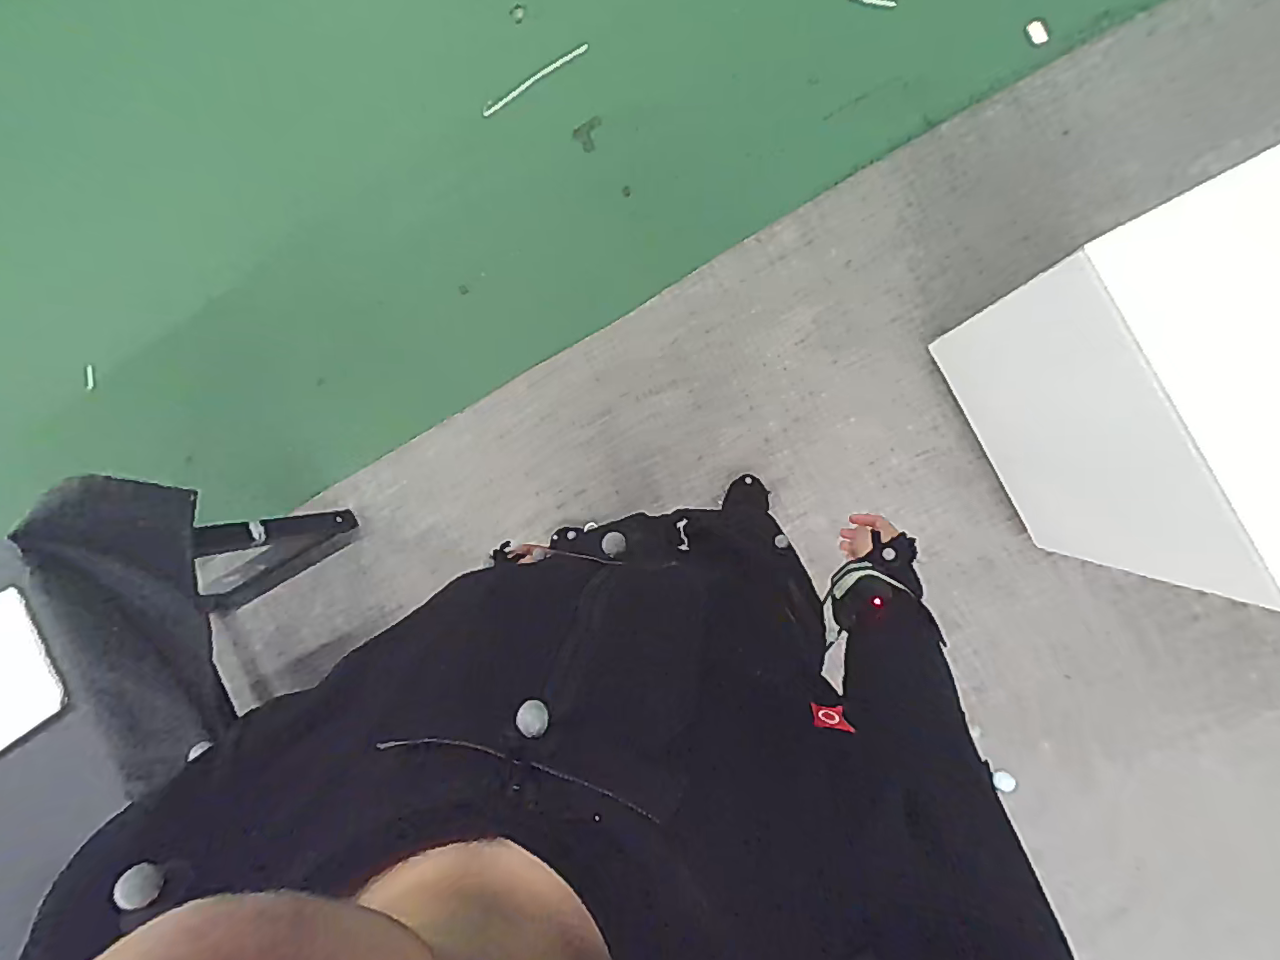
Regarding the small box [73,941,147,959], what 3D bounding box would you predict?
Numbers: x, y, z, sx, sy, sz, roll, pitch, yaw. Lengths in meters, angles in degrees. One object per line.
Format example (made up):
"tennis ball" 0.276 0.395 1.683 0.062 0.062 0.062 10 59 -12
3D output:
"small box" -0.764 0.766 0.702 0.168 0.176 0.179 -25 86 10
